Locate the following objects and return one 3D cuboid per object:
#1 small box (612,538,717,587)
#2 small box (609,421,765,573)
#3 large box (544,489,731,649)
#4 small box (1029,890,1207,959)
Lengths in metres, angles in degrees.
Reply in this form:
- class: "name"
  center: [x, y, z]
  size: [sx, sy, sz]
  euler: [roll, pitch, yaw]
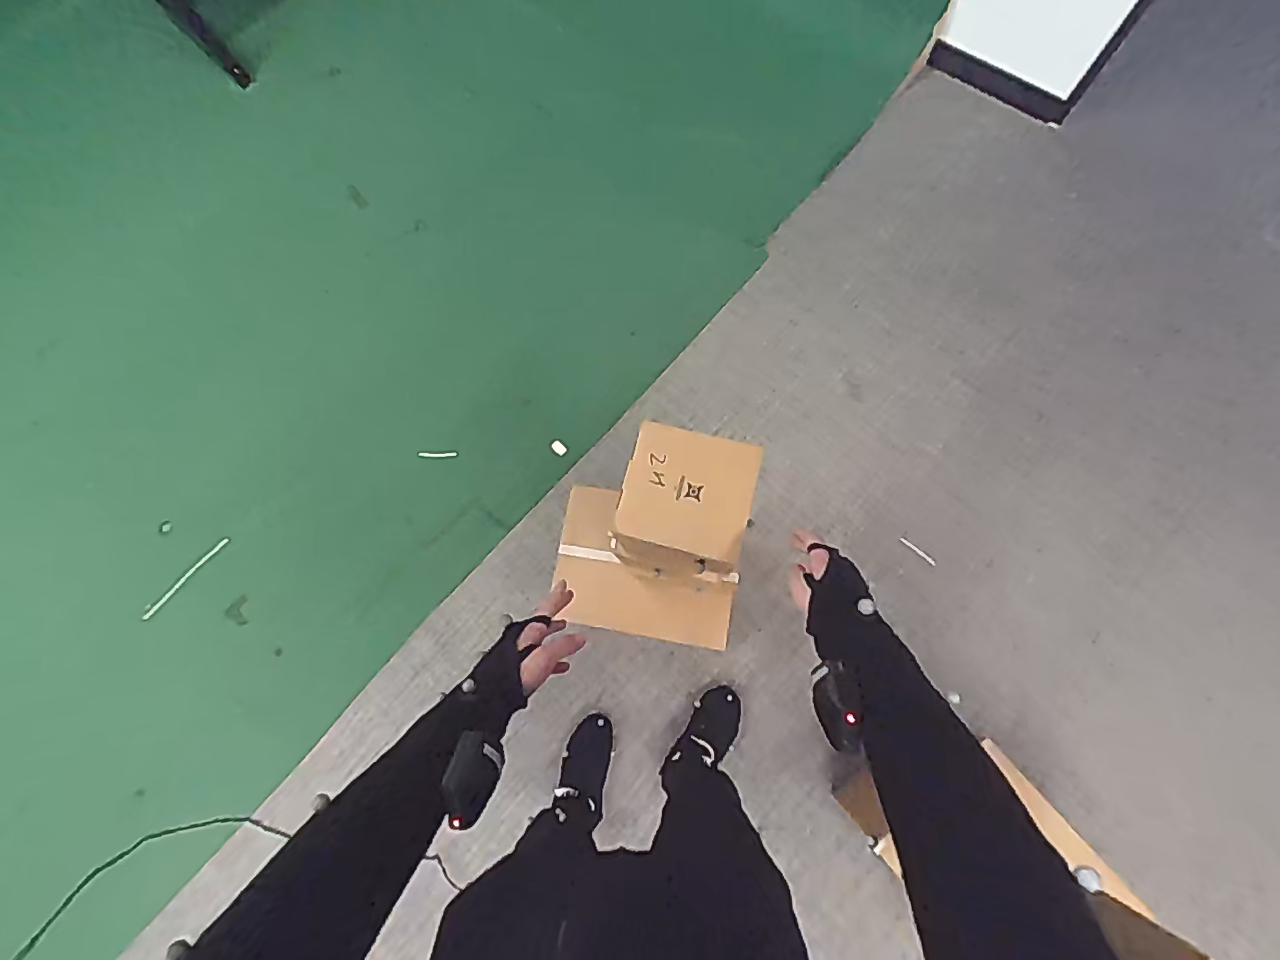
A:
- class: "small box"
  center: [0.065, 0.087, 0.960]
  size: [0.179, 0.176, 0.168]
  euler: [15, 77, 8]
- class: "small box"
  center: [0.069, 0.035, 0.802]
  size: [0.179, 0.176, 0.168]
  euler: [15, 76, 8]
- class: "large box"
  center: [0.019, 0.229, 1.351]
  size: [0.408, 0.320, 0.320]
  euler: [8, 75, 8]
- class: "small box"
  center: [0.581, 0.627, 0.608]
  size: [0.179, 0.176, 0.168]
  euler: [-43, 77, -8]
